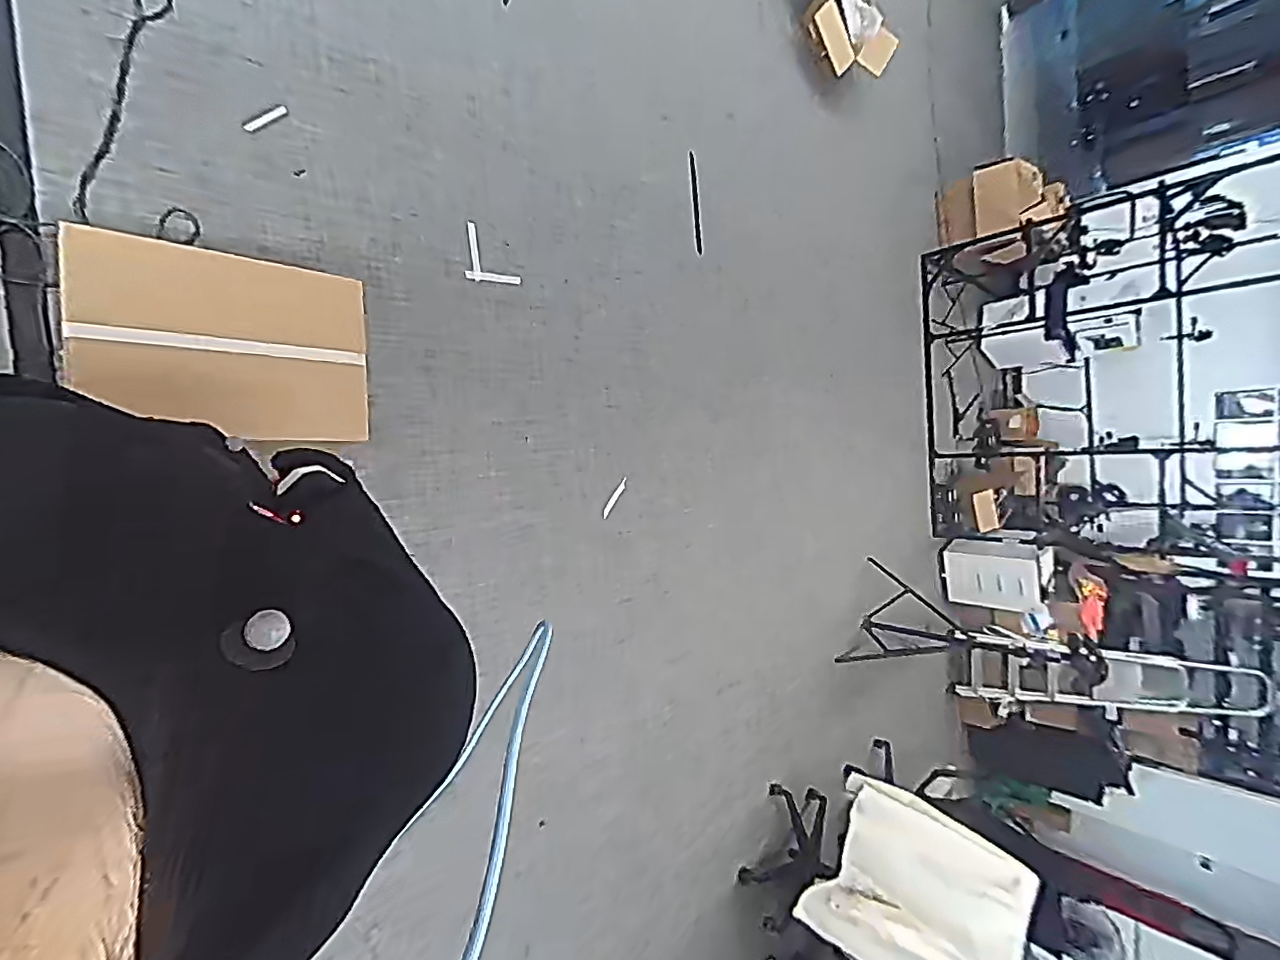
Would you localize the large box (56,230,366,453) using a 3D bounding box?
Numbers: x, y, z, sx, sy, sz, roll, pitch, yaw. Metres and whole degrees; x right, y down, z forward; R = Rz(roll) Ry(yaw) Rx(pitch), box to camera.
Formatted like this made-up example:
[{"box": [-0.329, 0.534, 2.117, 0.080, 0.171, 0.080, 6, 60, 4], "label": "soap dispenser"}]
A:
[{"box": [-0.785, -0.216, 1.017, 0.408, 0.320, 0.320, -3, 92, -43], "label": "large box"}]
